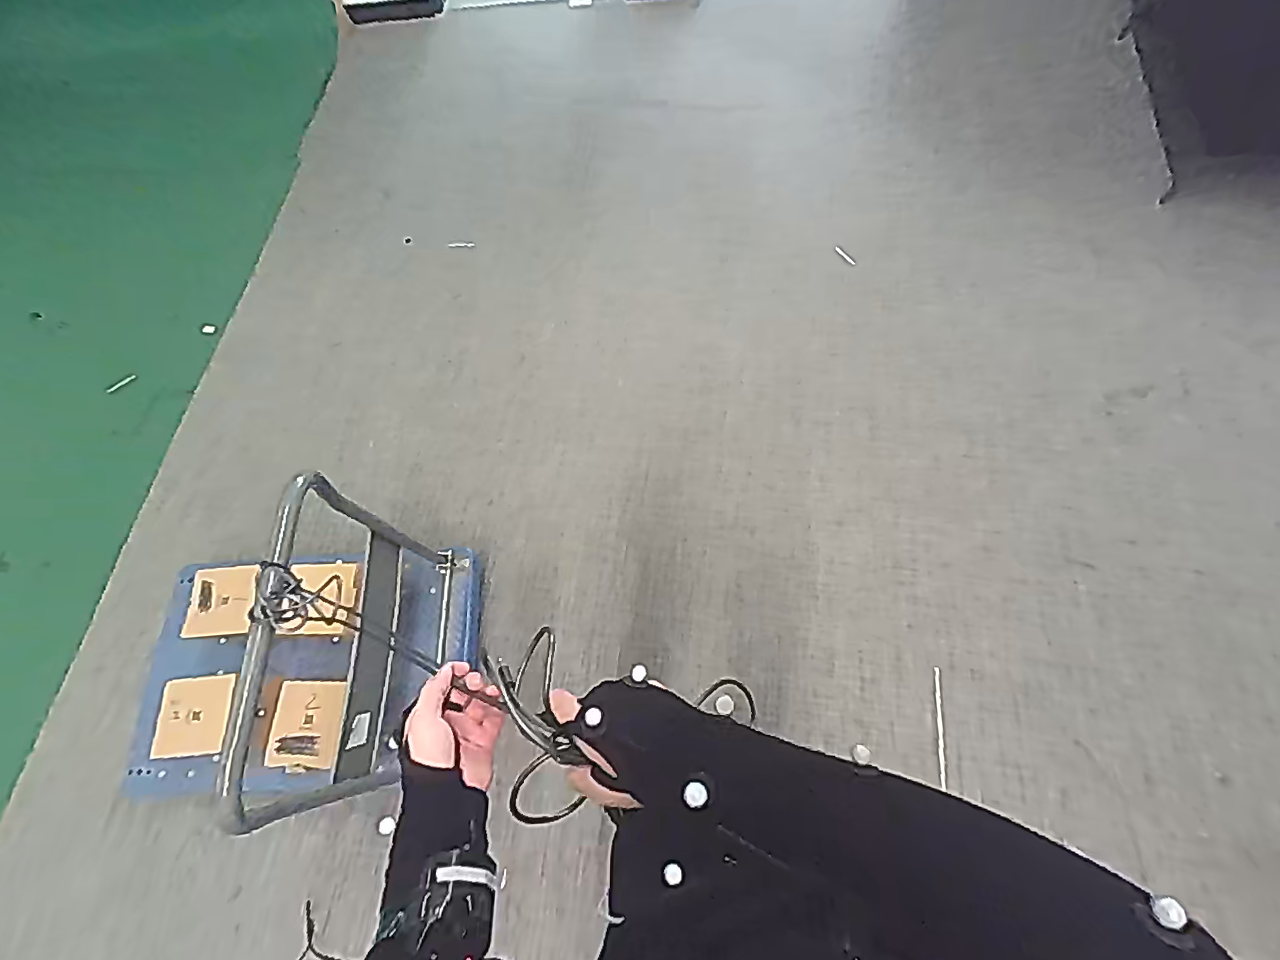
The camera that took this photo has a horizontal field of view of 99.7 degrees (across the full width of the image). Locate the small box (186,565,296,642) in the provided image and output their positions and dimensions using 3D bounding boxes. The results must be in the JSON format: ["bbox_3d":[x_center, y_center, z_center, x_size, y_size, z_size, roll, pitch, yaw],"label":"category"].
[{"bbox_3d":[-0.992,0.321,1.383,0.179,0.176,0.168,-5,69,5],"label":"small box"}]

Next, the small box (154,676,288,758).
[{"bbox_3d":[-0.986,0.560,1.291,0.179,0.176,0.168,-7,68,5],"label":"small box"}]

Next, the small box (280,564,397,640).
[{"bbox_3d":[-0.747,0.310,1.357,0.179,0.176,0.168,-3,69,7],"label":"small box"}]
